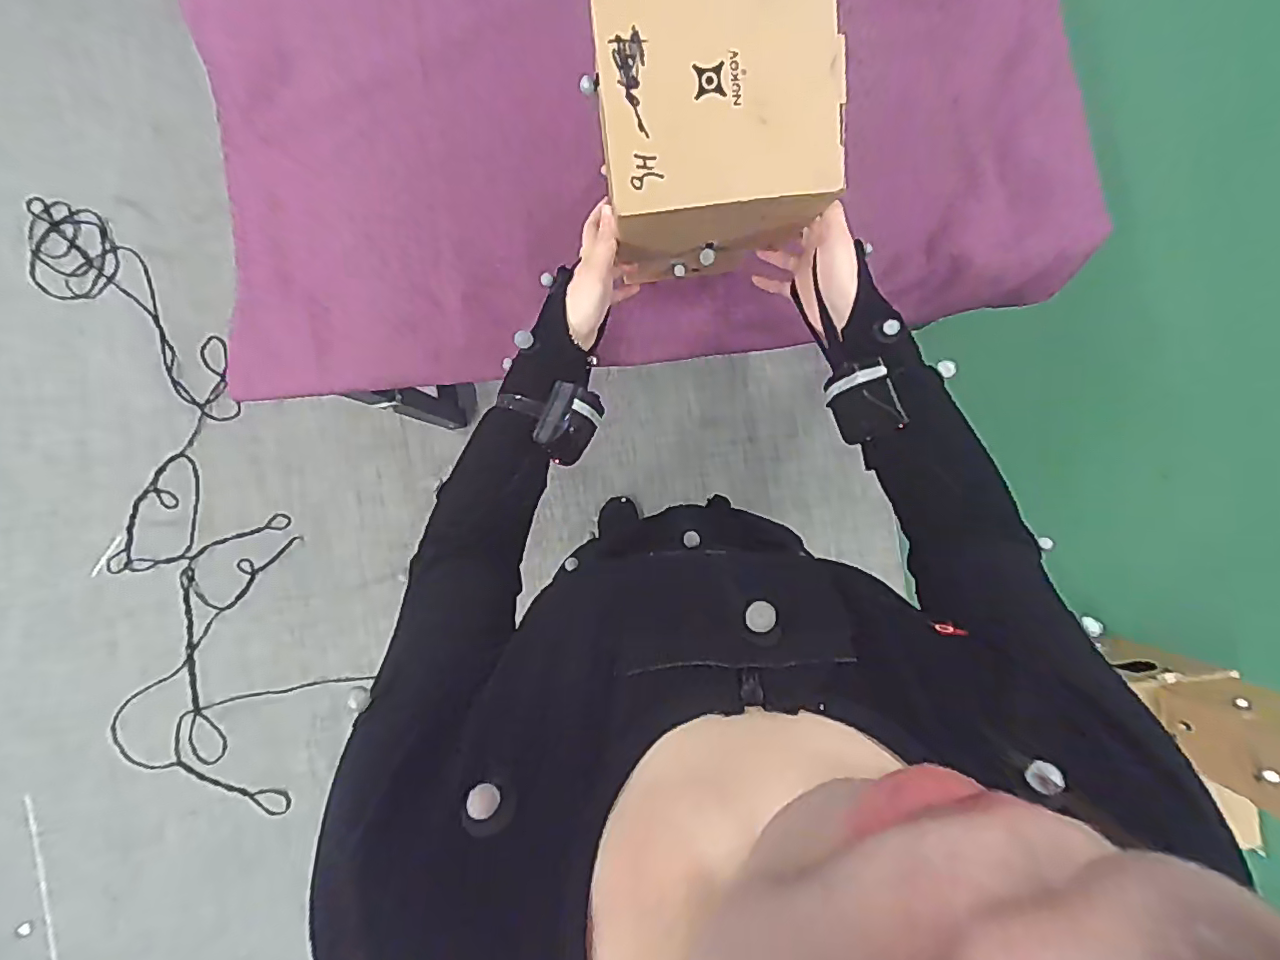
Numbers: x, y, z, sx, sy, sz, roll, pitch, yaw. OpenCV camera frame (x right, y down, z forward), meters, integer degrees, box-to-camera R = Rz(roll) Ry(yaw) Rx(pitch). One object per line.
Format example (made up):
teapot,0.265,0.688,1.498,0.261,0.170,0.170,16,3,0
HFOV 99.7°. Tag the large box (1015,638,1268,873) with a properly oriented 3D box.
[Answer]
large box,1.204,0.648,1.338,0.320,0.320,0.408,-7,90,1

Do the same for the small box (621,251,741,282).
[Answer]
small box,0.047,-0.382,0.703,0.168,0.176,0.179,-7,89,0

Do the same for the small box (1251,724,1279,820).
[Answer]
small box,1.239,0.532,0.933,0.179,0.176,0.168,-8,89,0

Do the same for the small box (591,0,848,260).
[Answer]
small box,0.054,-0.293,0.453,0.179,0.176,0.168,-6,99,-1

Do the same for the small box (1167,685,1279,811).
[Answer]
small box,1.241,0.532,1.097,0.179,0.176,0.168,-7,89,0
